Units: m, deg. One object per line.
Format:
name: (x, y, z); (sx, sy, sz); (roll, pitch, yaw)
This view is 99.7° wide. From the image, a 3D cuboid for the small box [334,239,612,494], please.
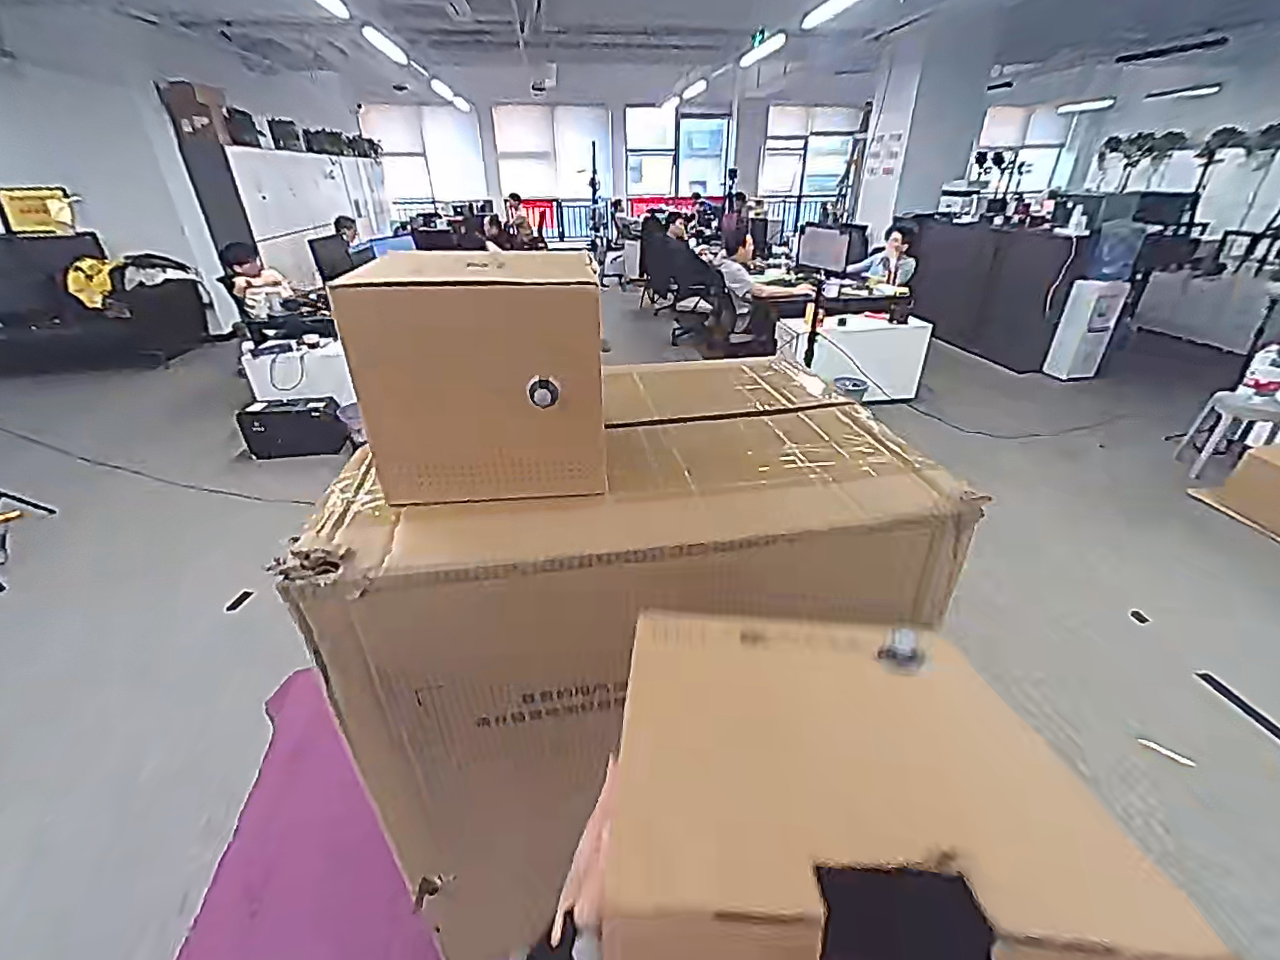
small box: (-0.115, -0.101, 0.453); (0.179, 0.176, 0.168); (-4, 29, -6)
